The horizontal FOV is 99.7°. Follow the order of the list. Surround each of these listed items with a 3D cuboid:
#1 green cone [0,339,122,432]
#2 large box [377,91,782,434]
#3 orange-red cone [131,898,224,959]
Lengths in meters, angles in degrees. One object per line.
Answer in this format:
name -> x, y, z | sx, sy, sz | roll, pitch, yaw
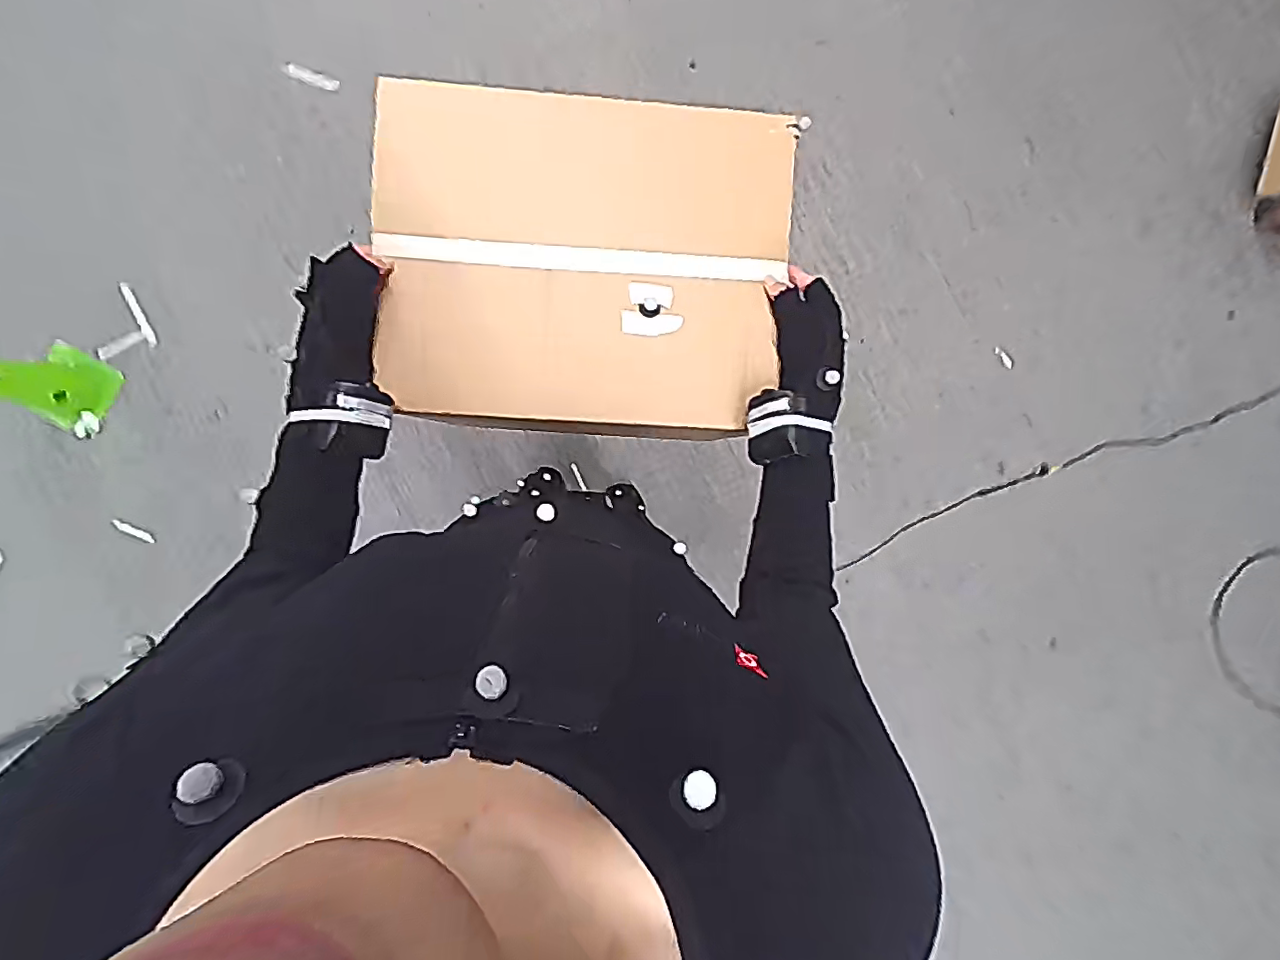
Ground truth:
green cone -> -1.507, -0.254, 1.274 | 0.202, 0.368, 0.200 | 28, 89, 0
large box -> -0.069, -0.223, 0.685 | 0.408, 0.320, 0.320 | 2, 93, -4
orange-red cone -> -1.256, 1.263, 1.307 | 0.199, 0.360, 0.198 | -27, 92, -2
